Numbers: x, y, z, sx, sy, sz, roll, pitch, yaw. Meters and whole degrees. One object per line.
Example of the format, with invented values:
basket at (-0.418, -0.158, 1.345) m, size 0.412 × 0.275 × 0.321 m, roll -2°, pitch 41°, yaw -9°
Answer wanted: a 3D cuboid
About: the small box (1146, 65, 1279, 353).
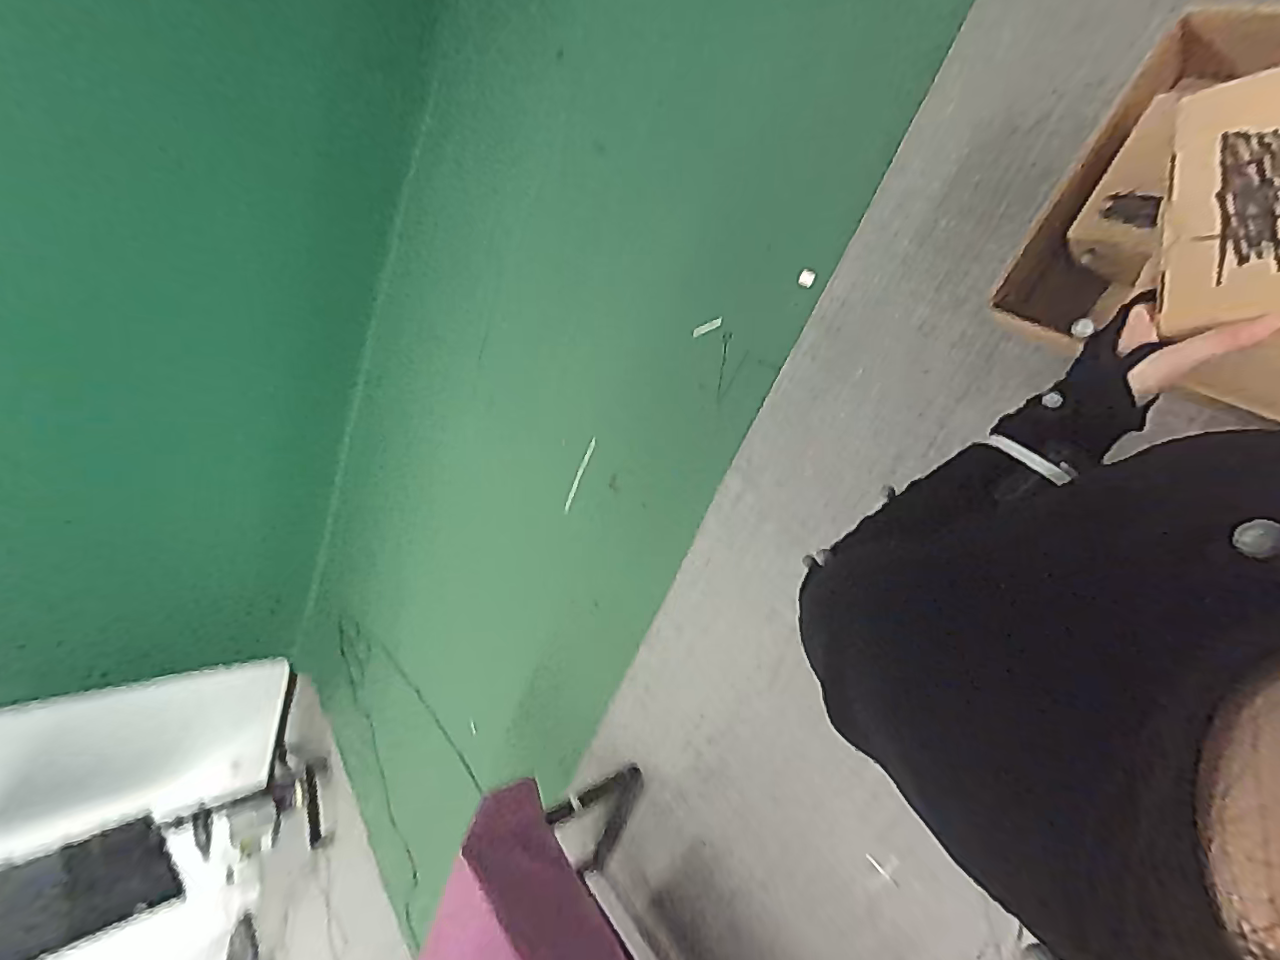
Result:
small box at (0.464, -0.191, 0.350) m, size 0.179 × 0.176 × 0.168 m, roll 8°, pitch 123°, yaw 47°
